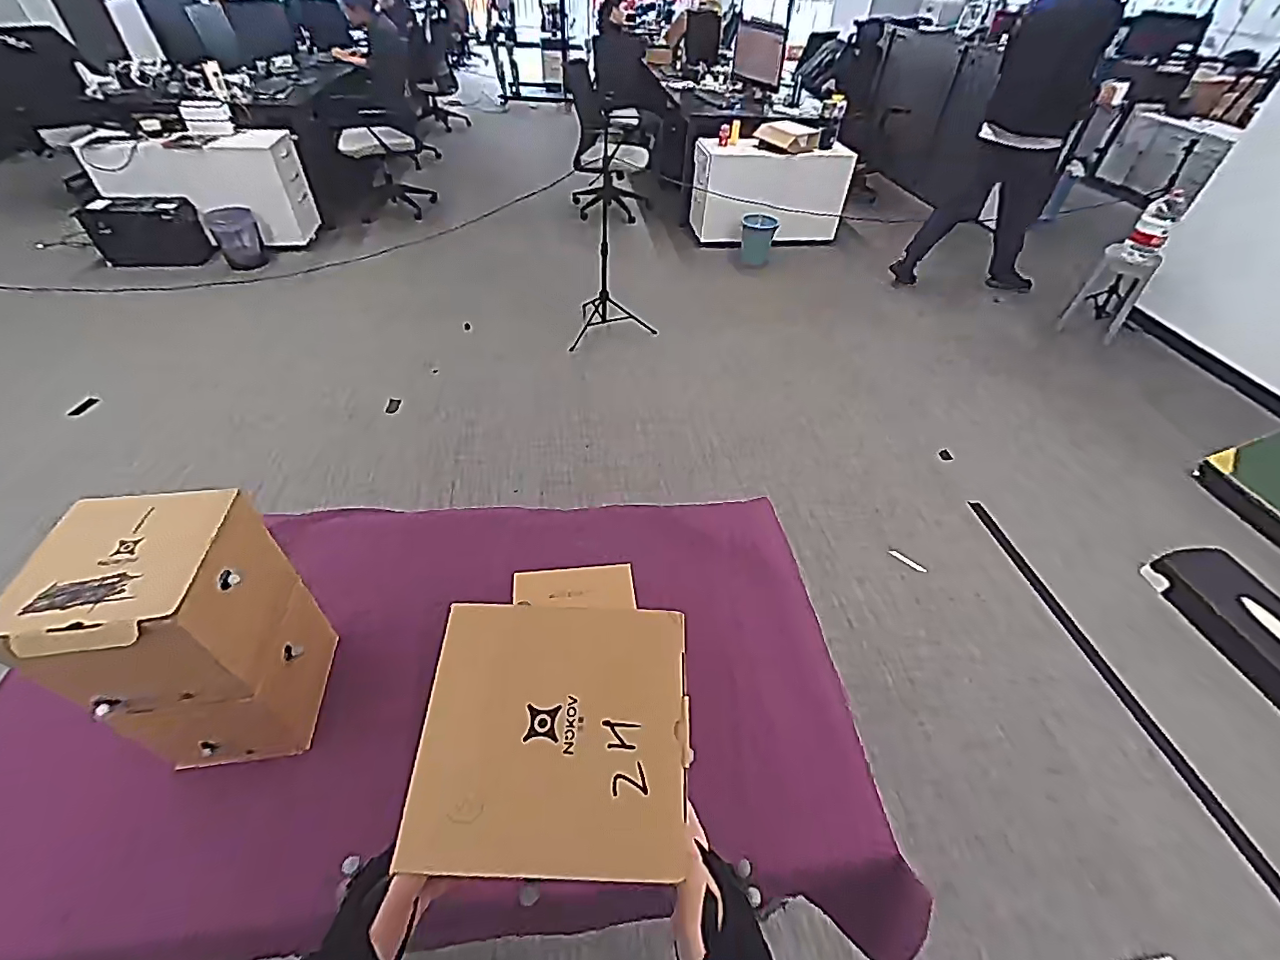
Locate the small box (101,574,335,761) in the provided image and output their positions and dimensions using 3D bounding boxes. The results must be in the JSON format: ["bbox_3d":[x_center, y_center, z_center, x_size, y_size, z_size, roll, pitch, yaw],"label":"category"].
[{"bbox_3d":[-0.534,0.249,0.722,0.168,0.176,0.179,-3,46,-8],"label":"small box"}]

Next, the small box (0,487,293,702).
[{"bbox_3d":[-0.526,0.131,0.607,0.168,0.176,0.179,-4,45,-9],"label":"small box"}]

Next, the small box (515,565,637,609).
[{"bbox_3d":[-0.085,0.243,0.758,0.168,0.176,0.179,-3,44,-7],"label":"small box"}]

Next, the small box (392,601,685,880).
[{"bbox_3d":[-0.058,0.206,0.426,0.179,0.176,0.168,3,57,0],"label":"small box"}]
